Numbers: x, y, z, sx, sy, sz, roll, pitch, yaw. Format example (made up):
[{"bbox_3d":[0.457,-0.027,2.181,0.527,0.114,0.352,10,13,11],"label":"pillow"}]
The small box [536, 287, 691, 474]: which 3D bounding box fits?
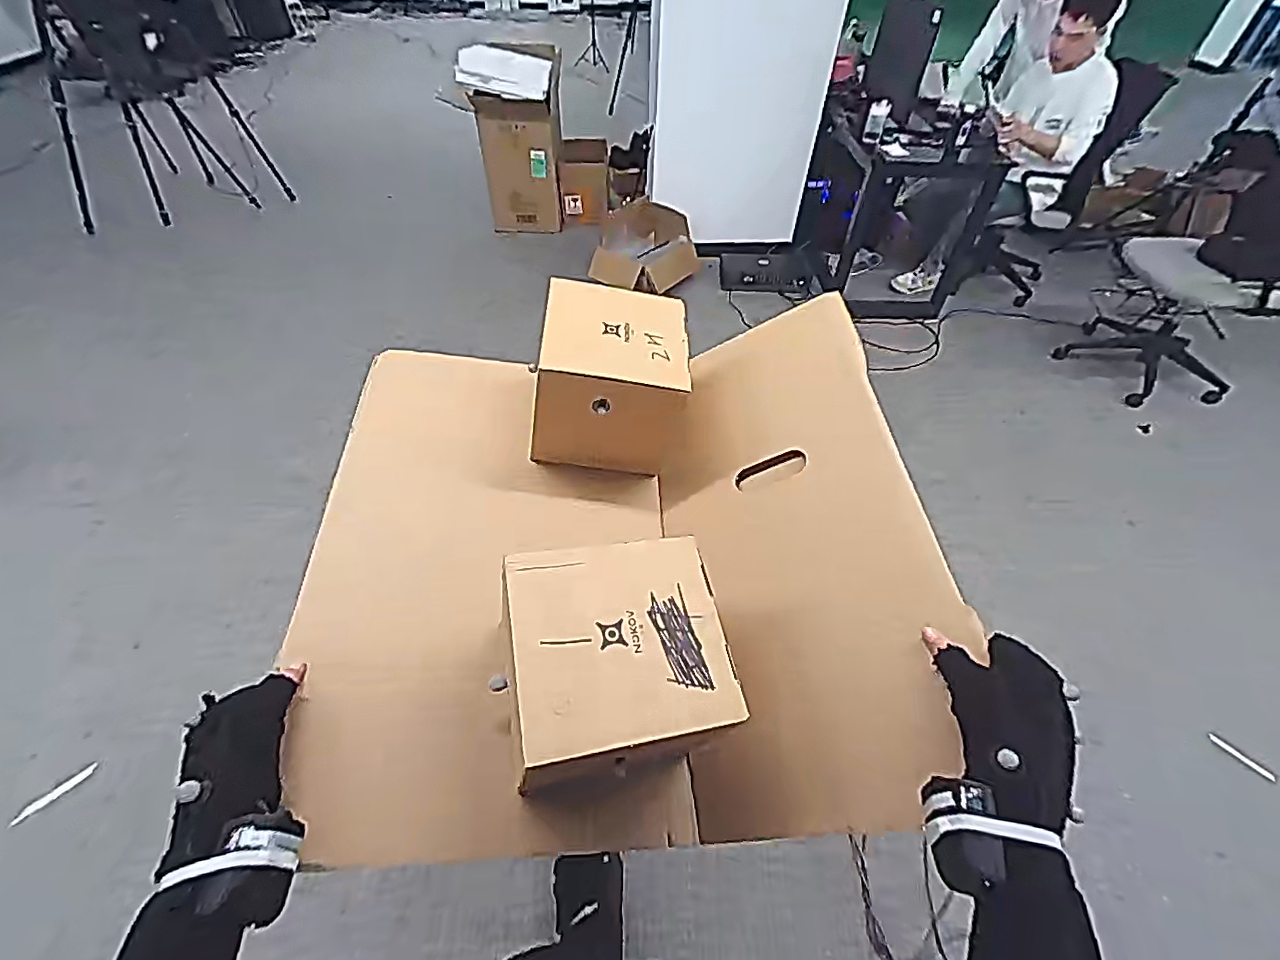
[{"bbox_3d":[-0.040,-0.125,0.722,0.179,0.176,0.168,8,54,-10],"label":"small box"}]
